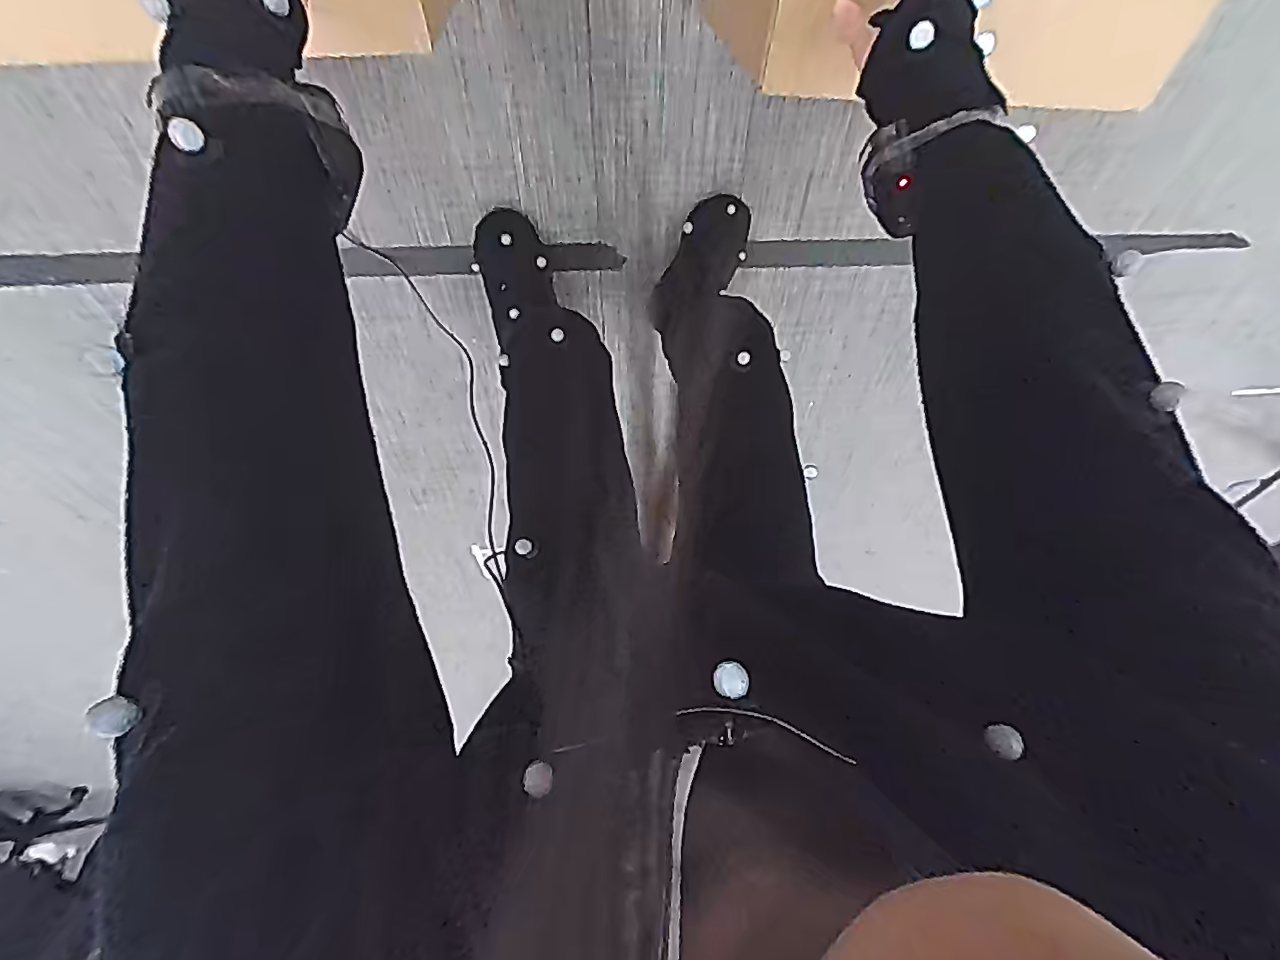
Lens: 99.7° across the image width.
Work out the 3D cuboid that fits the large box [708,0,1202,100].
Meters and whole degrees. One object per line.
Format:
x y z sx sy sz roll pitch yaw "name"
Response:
0.304 -0.592 0.514 0.408 0.320 0.320 -3 140 -7 "large box"
